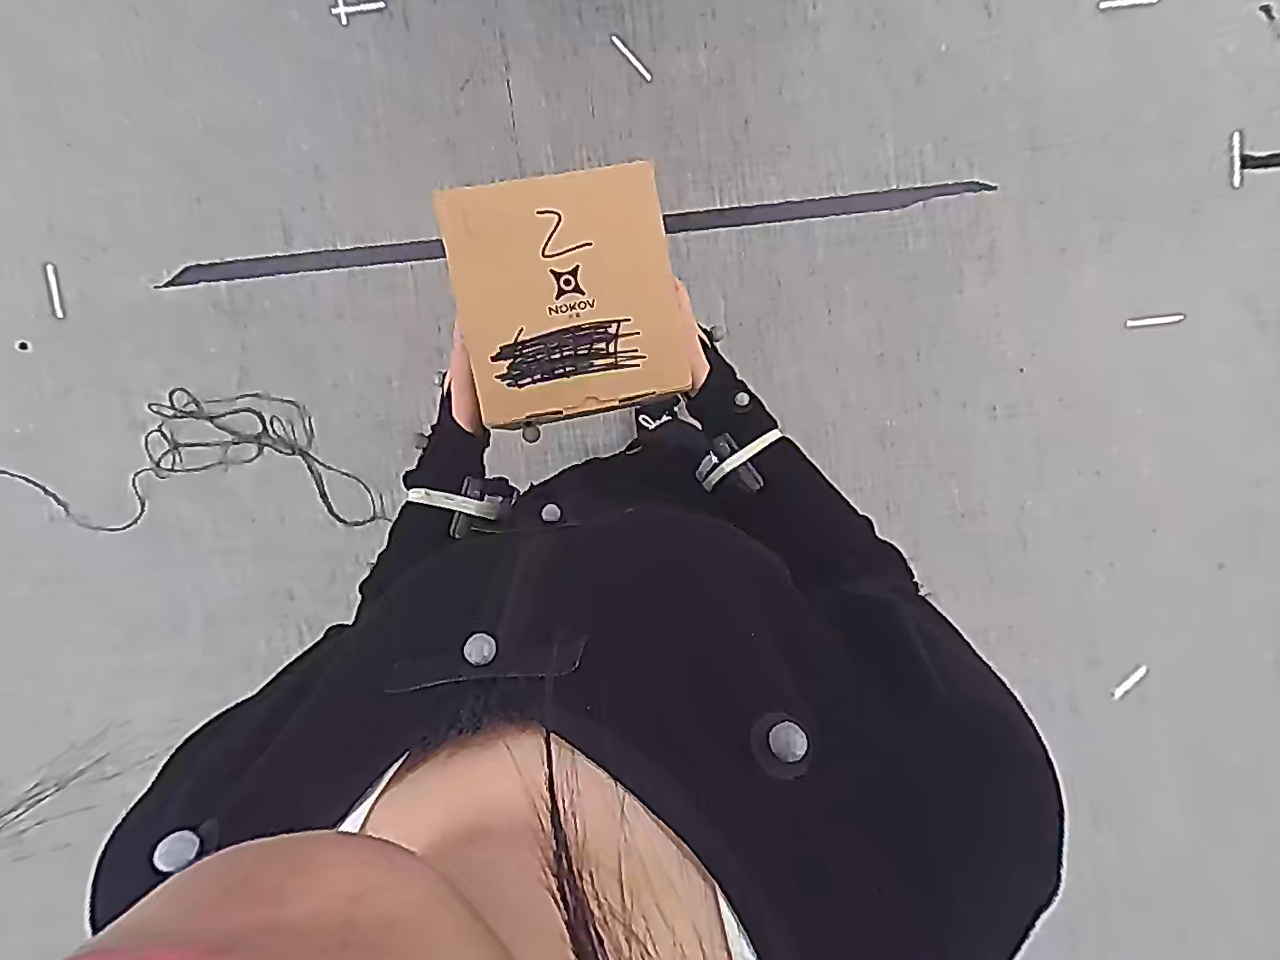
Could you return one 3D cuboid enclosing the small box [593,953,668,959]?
[{"bbox_3d":[-0.013,1.043,1.020,0.168,0.176,0.179,-6,96,-1],"label":"small box"}]

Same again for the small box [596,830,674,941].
[{"bbox_3d":[-0.015,1.006,1.345,0.179,0.176,0.168,-4,95,-1],"label":"small box"}]

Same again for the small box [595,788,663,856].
[{"bbox_3d":[-0.026,0.995,1.509,0.179,0.176,0.168,-7,95,-1],"label":"small box"}]

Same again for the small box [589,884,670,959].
[{"bbox_3d":[-0.020,1.026,1.183,0.168,0.176,0.179,-5,95,-1],"label":"small box"}]
